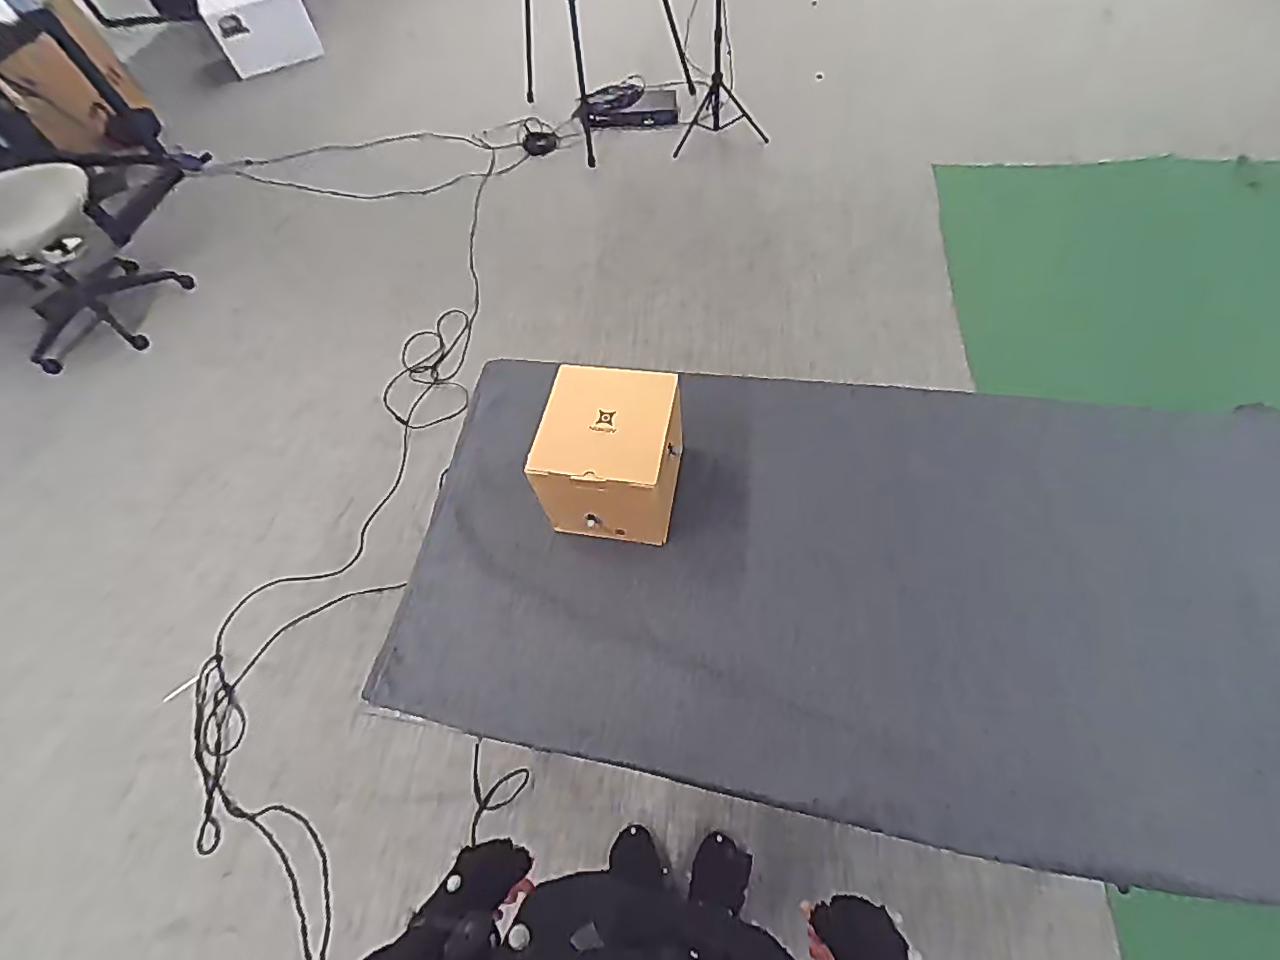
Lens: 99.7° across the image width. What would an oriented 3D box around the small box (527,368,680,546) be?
[{"bbox_3d":[-0.038,-0.029,0.754,0.168,0.176,0.179,7,61,10],"label":"small box"}]
